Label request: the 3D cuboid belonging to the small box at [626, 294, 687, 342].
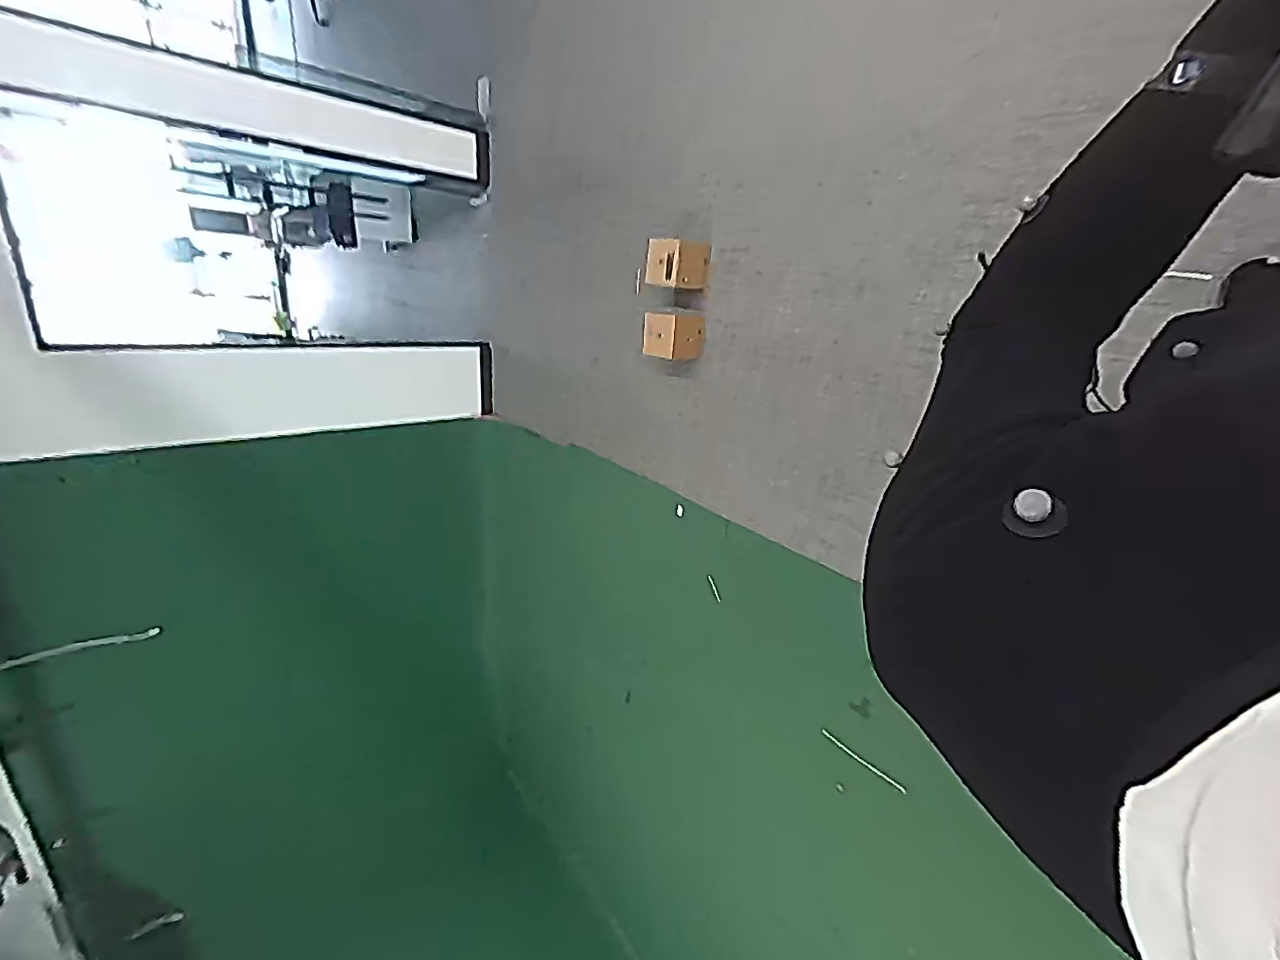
[{"bbox_3d":[0.067,-0.650,2.165,0.179,0.176,0.168,25,118,43],"label":"small box"}]
